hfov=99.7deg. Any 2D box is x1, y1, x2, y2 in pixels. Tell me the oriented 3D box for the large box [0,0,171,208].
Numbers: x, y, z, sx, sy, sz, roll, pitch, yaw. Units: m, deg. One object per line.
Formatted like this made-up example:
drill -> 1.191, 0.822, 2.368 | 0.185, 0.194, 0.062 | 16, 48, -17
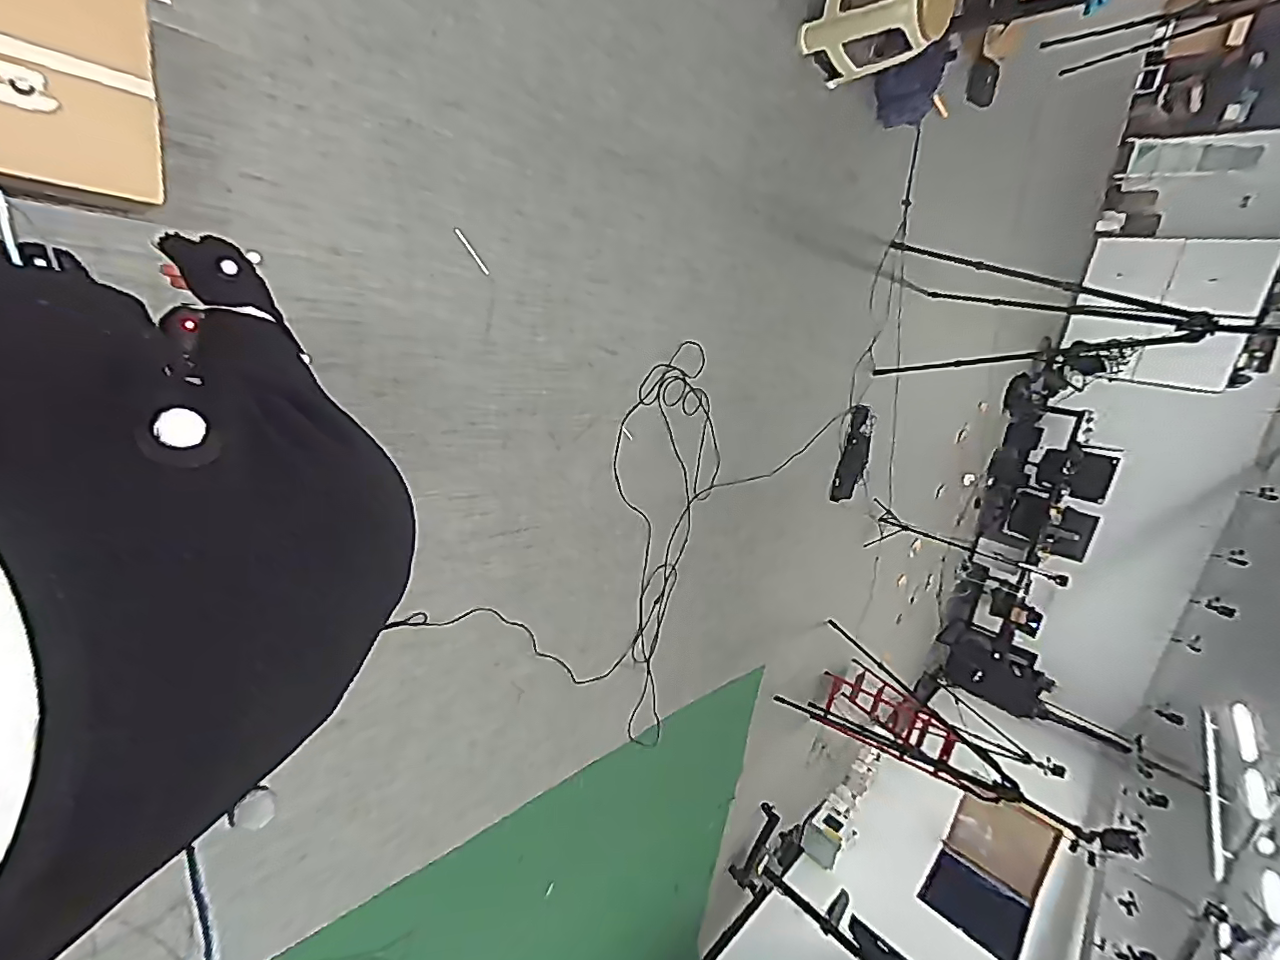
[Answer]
large box -> -0.965, -0.606, 0.770 | 0.408, 0.320, 0.320 | -8, 113, -45
